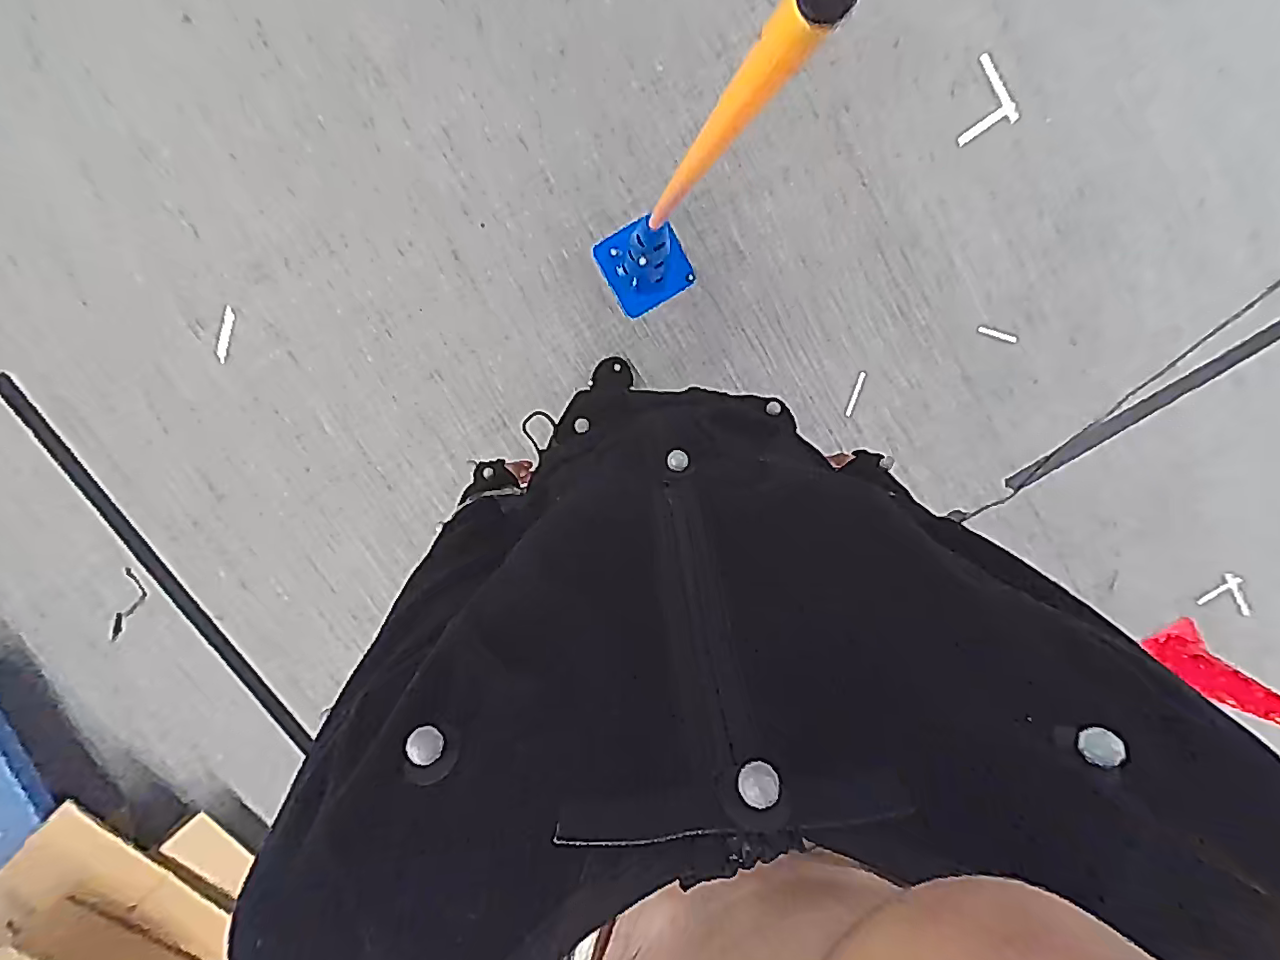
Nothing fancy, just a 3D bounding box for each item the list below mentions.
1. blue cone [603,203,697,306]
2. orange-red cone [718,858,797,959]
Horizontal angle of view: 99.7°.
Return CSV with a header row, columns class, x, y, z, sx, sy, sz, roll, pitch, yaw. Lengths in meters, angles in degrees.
class,x,y,z,sx,sy,sz,roll,pitch,yaw
blue cone,0.029,-0.516,1.167,0.192,0.380,0.193,-29,100,2
orange-red cone,0.361,1.277,1.462,0.199,0.360,0.198,-28,99,3
